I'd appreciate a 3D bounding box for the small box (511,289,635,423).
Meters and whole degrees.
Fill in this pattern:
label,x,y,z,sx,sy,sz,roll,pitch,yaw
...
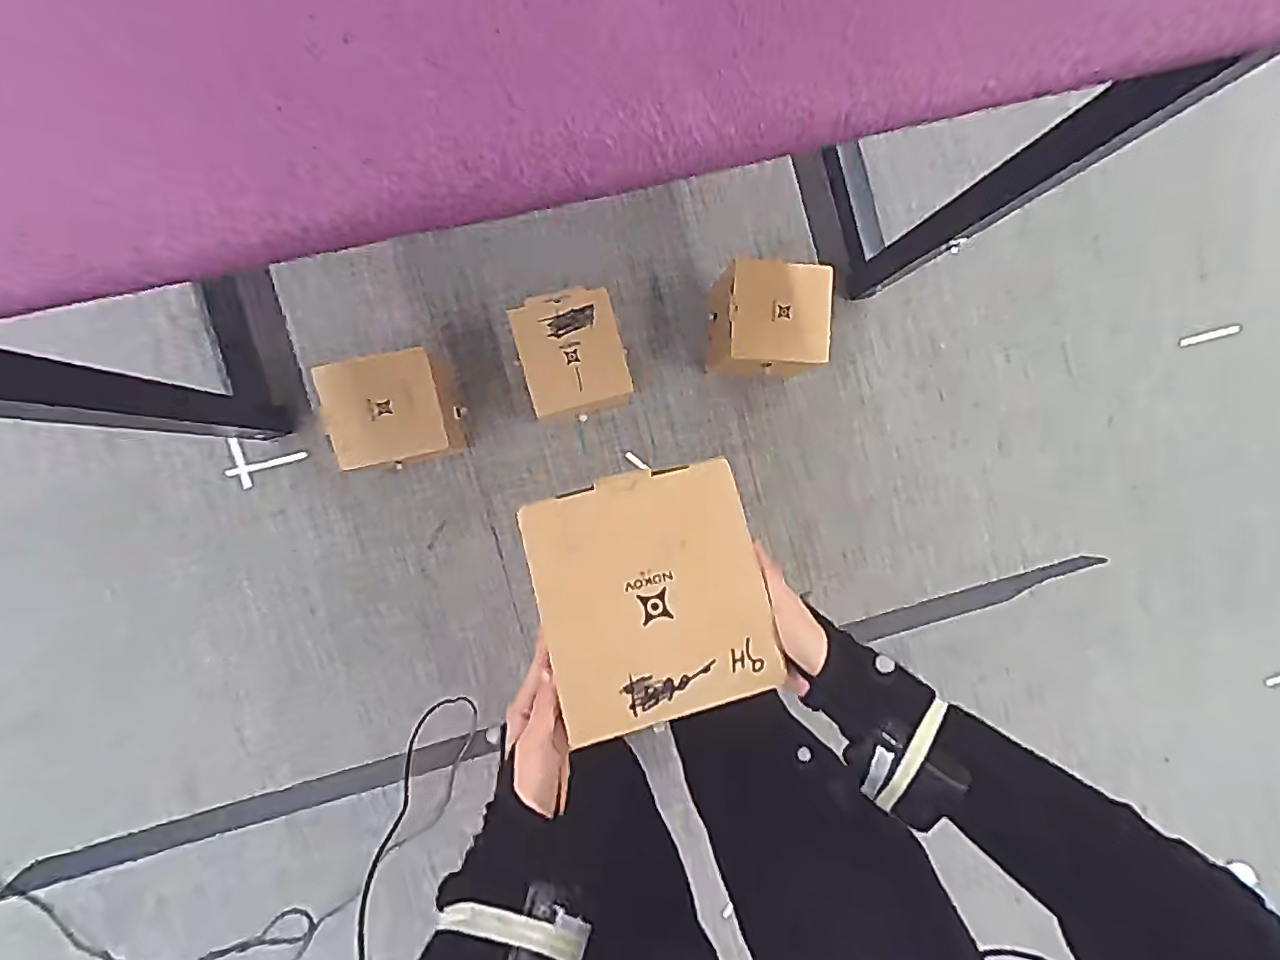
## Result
label,x,y,z,sx,sy,sz,roll,pitch,yaw
small box,-0.117,-0.207,0.945,0.168,0.176,0.179,-16,94,-6

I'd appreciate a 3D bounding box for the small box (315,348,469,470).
label,x,y,z,sx,sy,sz,roll,pitch,yaw
small box,-0.407,-0.112,0.916,0.179,0.176,0.168,-13,94,-7

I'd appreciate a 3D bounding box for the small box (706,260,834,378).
label,x,y,z,sx,sy,sz,roll,pitch,yaw
small box,0.229,-0.283,0.984,0.179,0.176,0.168,2,92,-6
